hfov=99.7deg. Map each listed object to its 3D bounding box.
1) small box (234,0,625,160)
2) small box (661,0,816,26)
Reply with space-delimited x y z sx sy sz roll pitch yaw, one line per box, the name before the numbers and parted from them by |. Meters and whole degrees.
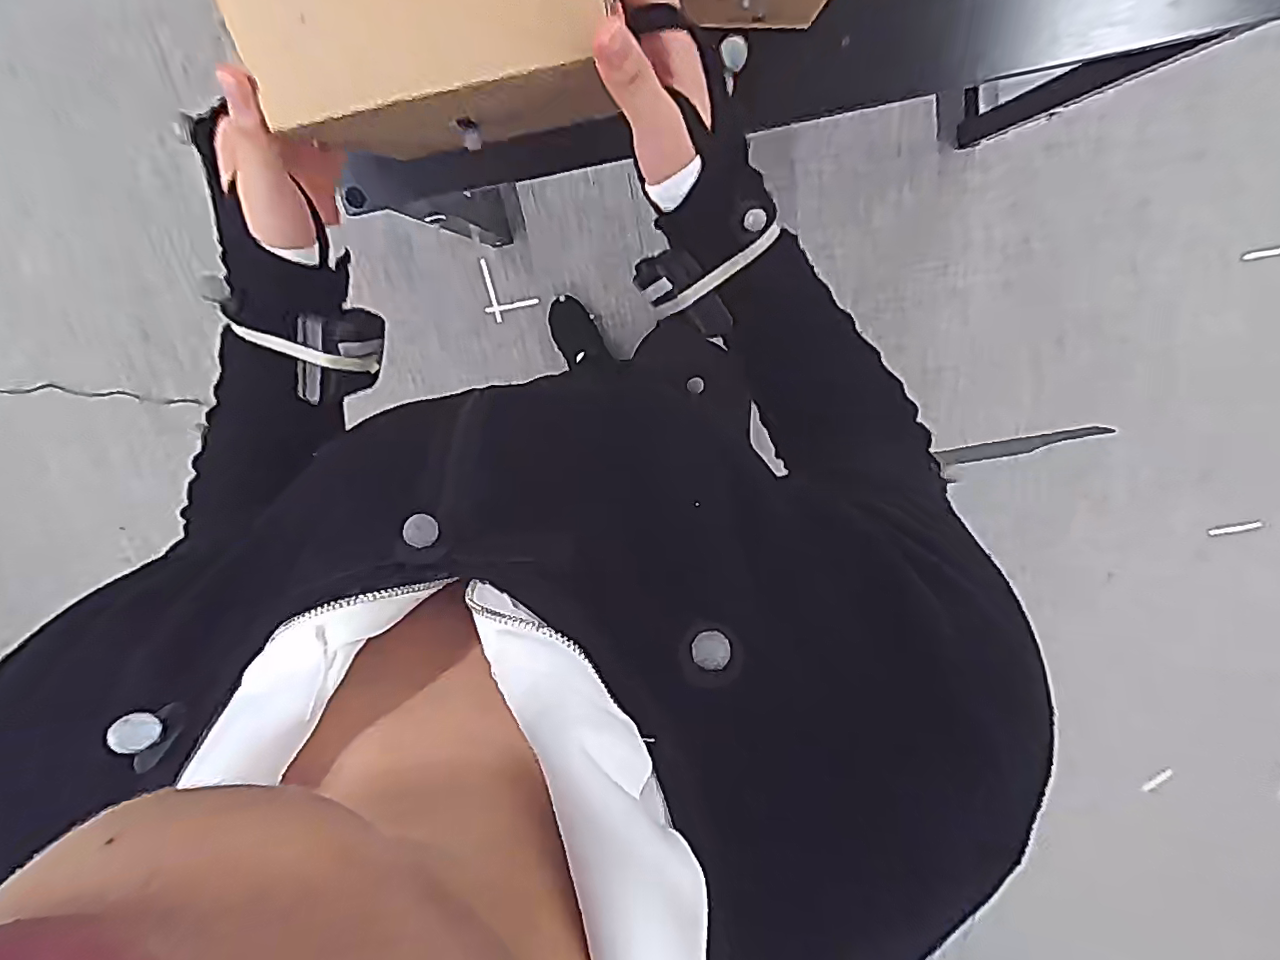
small box | -0.106 -0.293 0.302 0.179 0.176 0.168 -8 115 6
small box | 0.104 -0.553 0.492 0.168 0.176 0.179 -1 108 -3
